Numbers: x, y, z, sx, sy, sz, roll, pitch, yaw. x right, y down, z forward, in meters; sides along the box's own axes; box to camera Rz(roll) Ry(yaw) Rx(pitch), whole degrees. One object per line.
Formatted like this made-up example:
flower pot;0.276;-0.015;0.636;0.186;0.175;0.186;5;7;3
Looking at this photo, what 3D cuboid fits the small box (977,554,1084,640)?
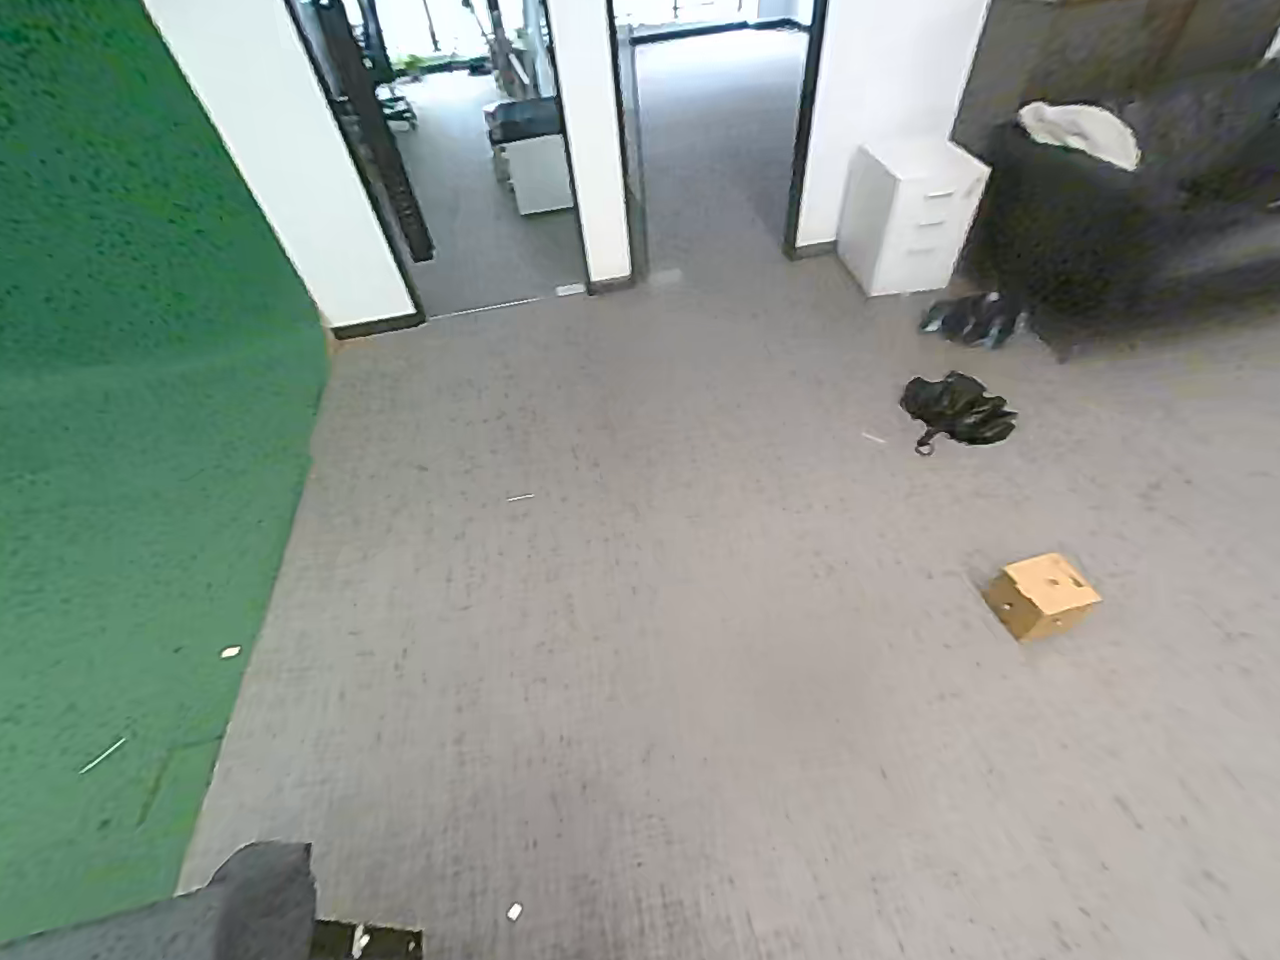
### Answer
small box;1.133;0.348;1.591;0.179;0.176;0.168;-14;48;-7
